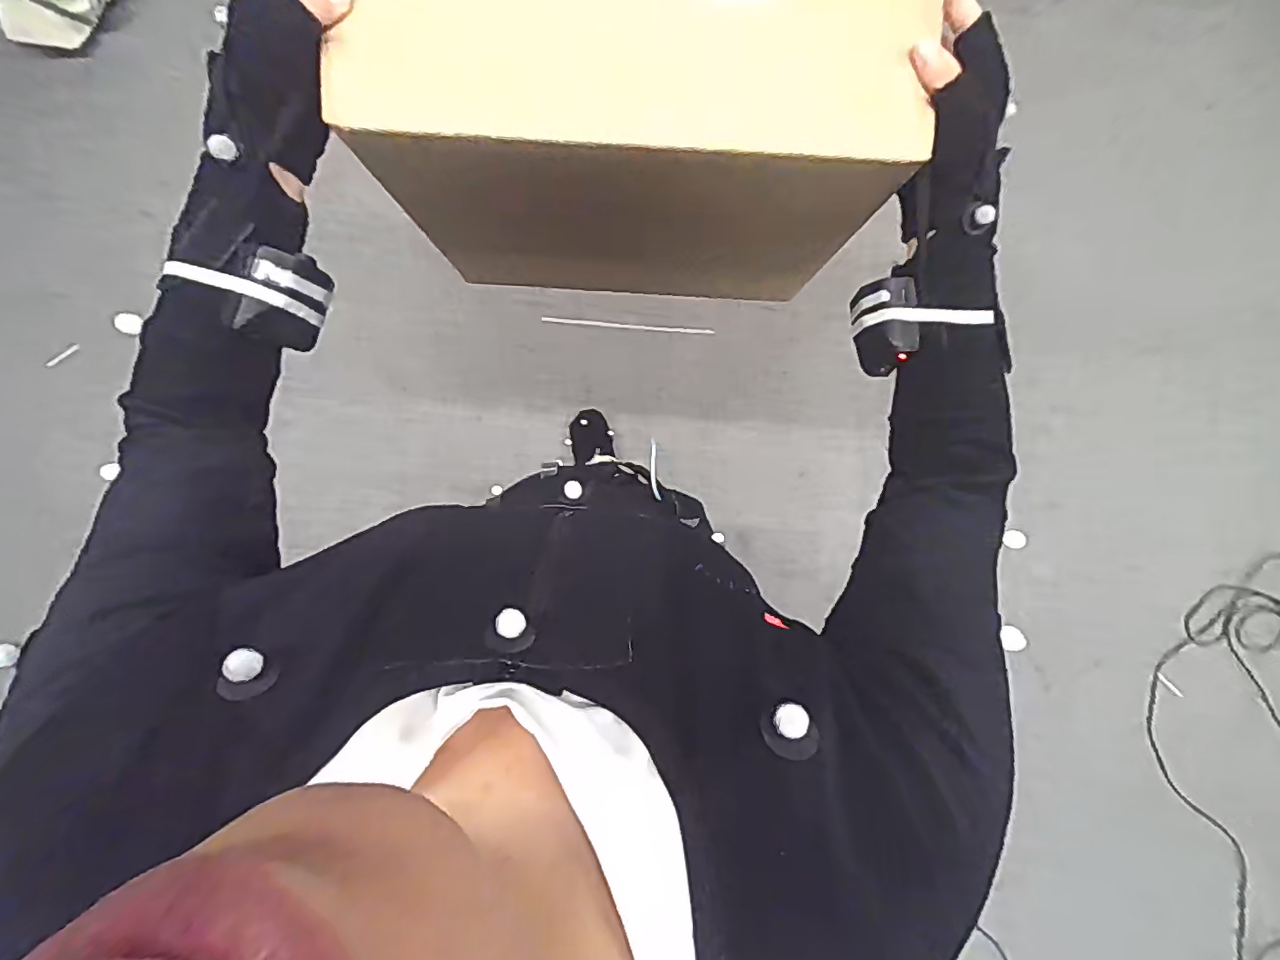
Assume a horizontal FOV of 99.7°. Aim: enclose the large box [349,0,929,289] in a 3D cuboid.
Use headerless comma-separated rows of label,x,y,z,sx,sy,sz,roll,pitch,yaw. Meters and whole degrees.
large box,-0.002,-0.390,0.517,0.408,0.320,0.320,2,92,-3
